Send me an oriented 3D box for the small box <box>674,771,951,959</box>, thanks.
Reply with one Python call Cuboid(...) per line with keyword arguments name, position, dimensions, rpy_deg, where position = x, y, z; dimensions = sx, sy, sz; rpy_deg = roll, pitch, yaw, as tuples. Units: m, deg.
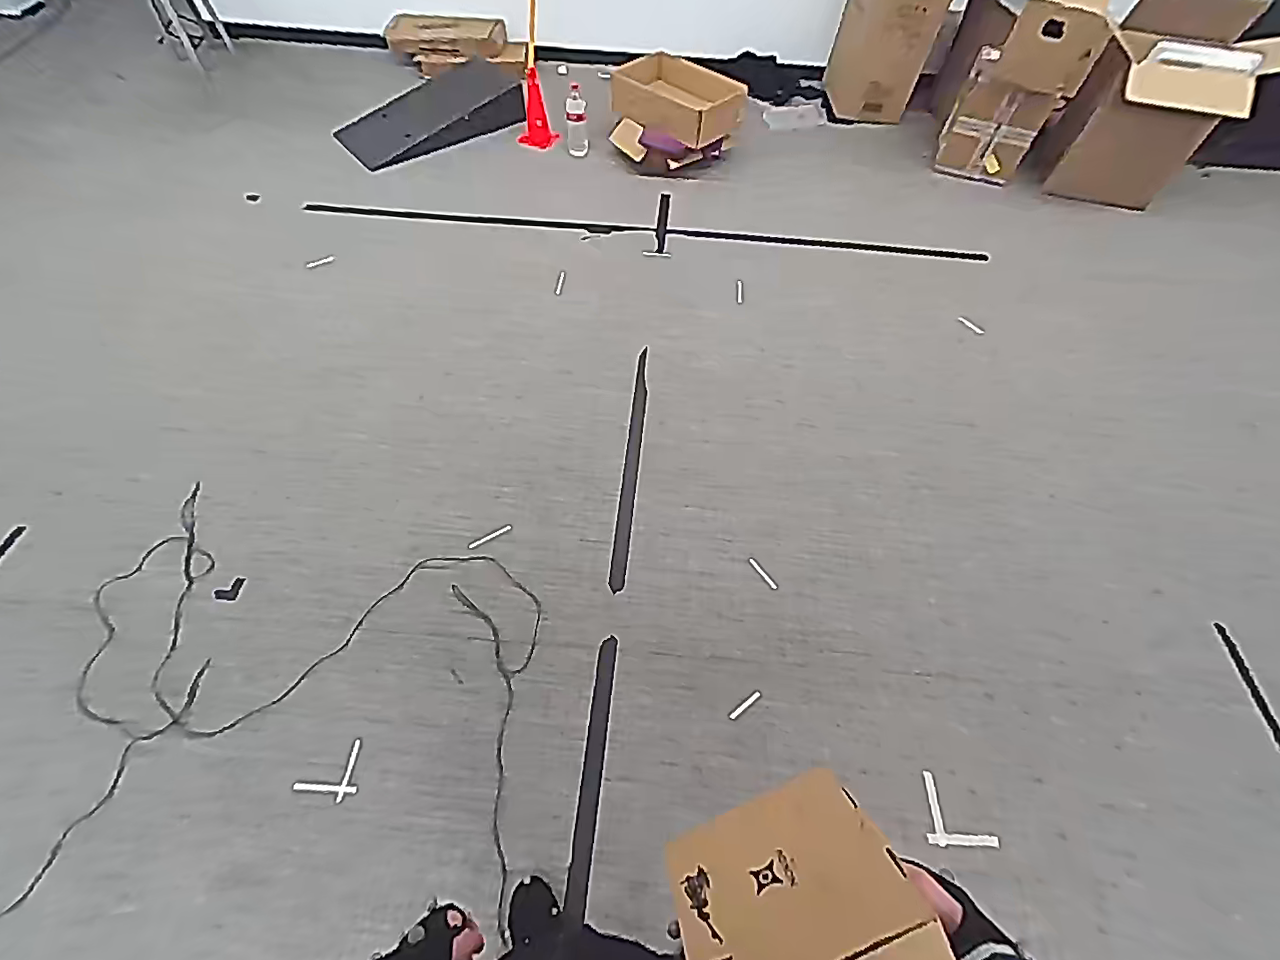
Cuboid(name="small box", position=(0.150, 0.400, 0.458), dimensions=(0.179, 0.168, 0.176), rpy_deg=(-24, 97, -3))
